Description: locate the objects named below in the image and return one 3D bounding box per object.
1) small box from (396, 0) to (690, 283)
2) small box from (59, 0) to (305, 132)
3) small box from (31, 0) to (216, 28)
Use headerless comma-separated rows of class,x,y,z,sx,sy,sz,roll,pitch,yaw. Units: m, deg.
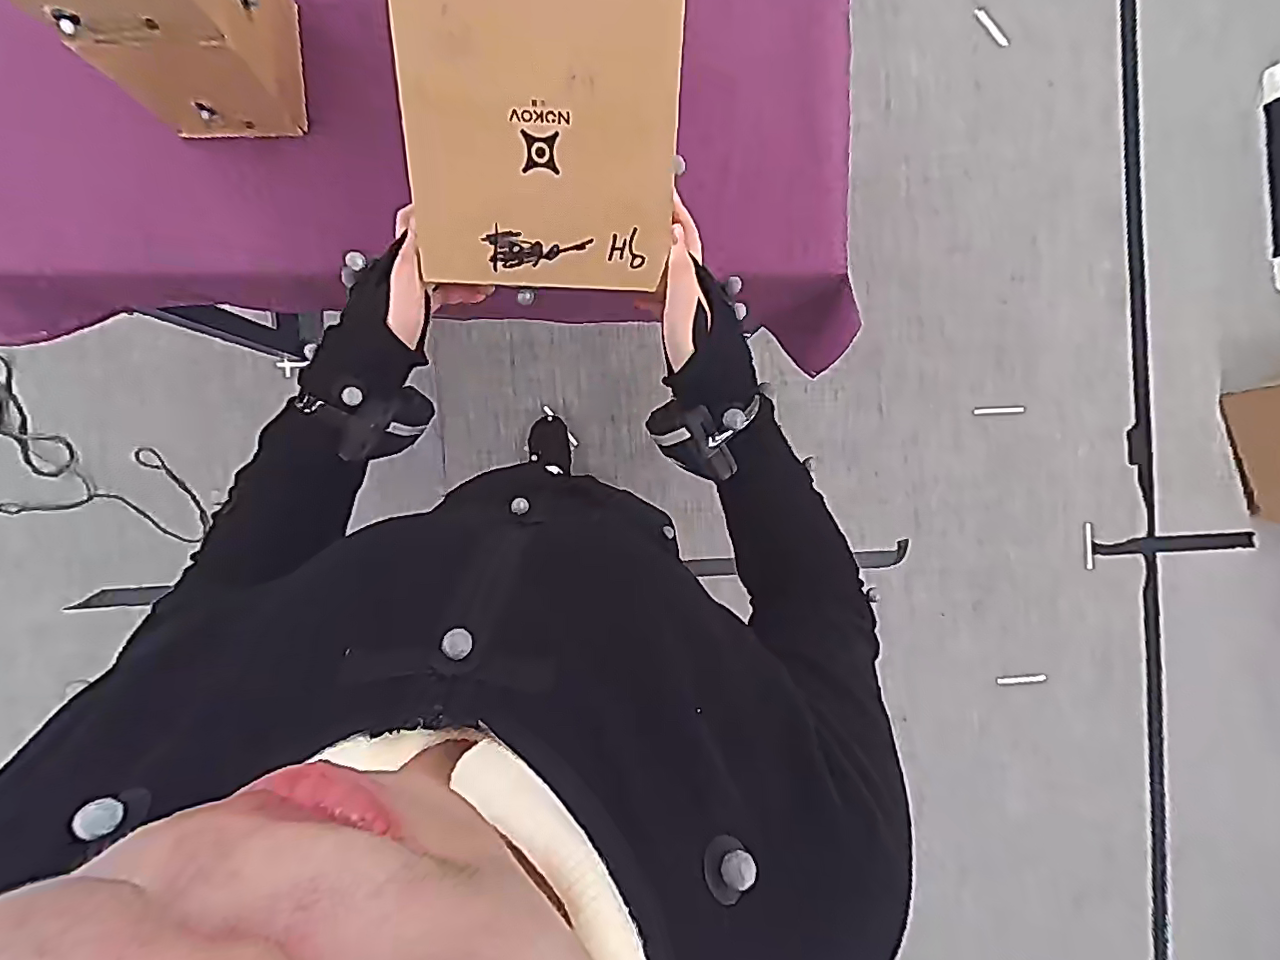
small box,-0.060,-0.247,0.397,0.168,0.176,0.179,2,115,-3
small box,-0.531,-0.555,0.645,0.168,0.176,0.179,-4,93,-4
small box,-0.521,-0.549,0.481,0.168,0.176,0.179,-5,92,-4
